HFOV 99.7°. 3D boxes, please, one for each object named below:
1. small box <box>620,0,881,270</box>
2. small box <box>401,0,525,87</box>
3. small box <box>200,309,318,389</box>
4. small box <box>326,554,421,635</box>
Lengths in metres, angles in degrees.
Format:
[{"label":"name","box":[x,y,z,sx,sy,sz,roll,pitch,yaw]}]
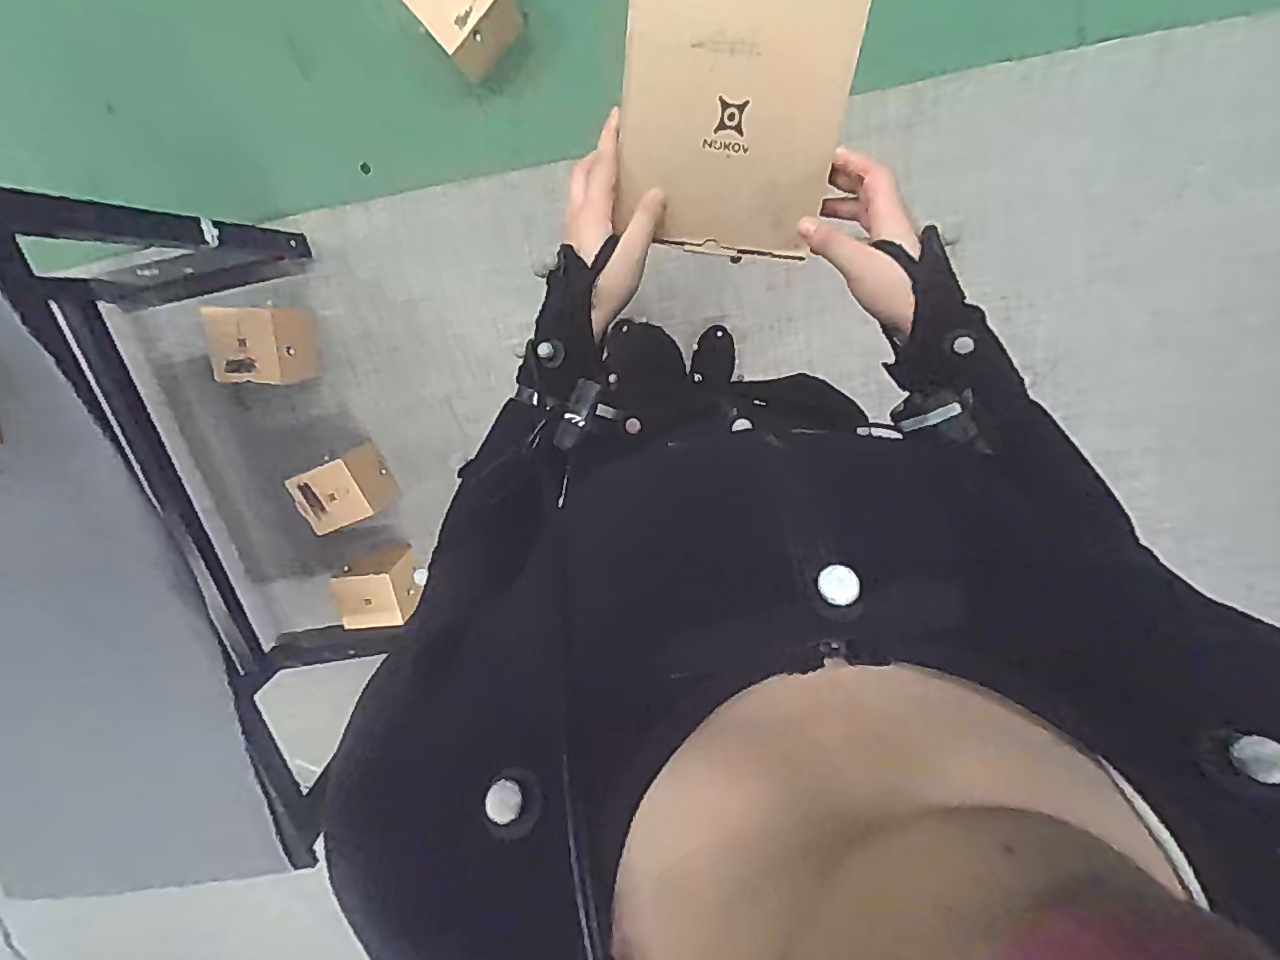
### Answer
[{"label":"small box","box":[0.074,-0.295,0.471,0.168,0.176,0.179,5,117,-5]},{"label":"small box","box":[-0.364,-0.960,1.105,0.168,0.176,0.179,-41,102,14]},{"label":"small box","box":[-0.927,-0.326,1.335,0.168,0.176,0.179,3,107,0]},{"label":"small box","box":[-0.752,0.322,1.554,0.179,0.176,0.168,-5,109,4]}]
